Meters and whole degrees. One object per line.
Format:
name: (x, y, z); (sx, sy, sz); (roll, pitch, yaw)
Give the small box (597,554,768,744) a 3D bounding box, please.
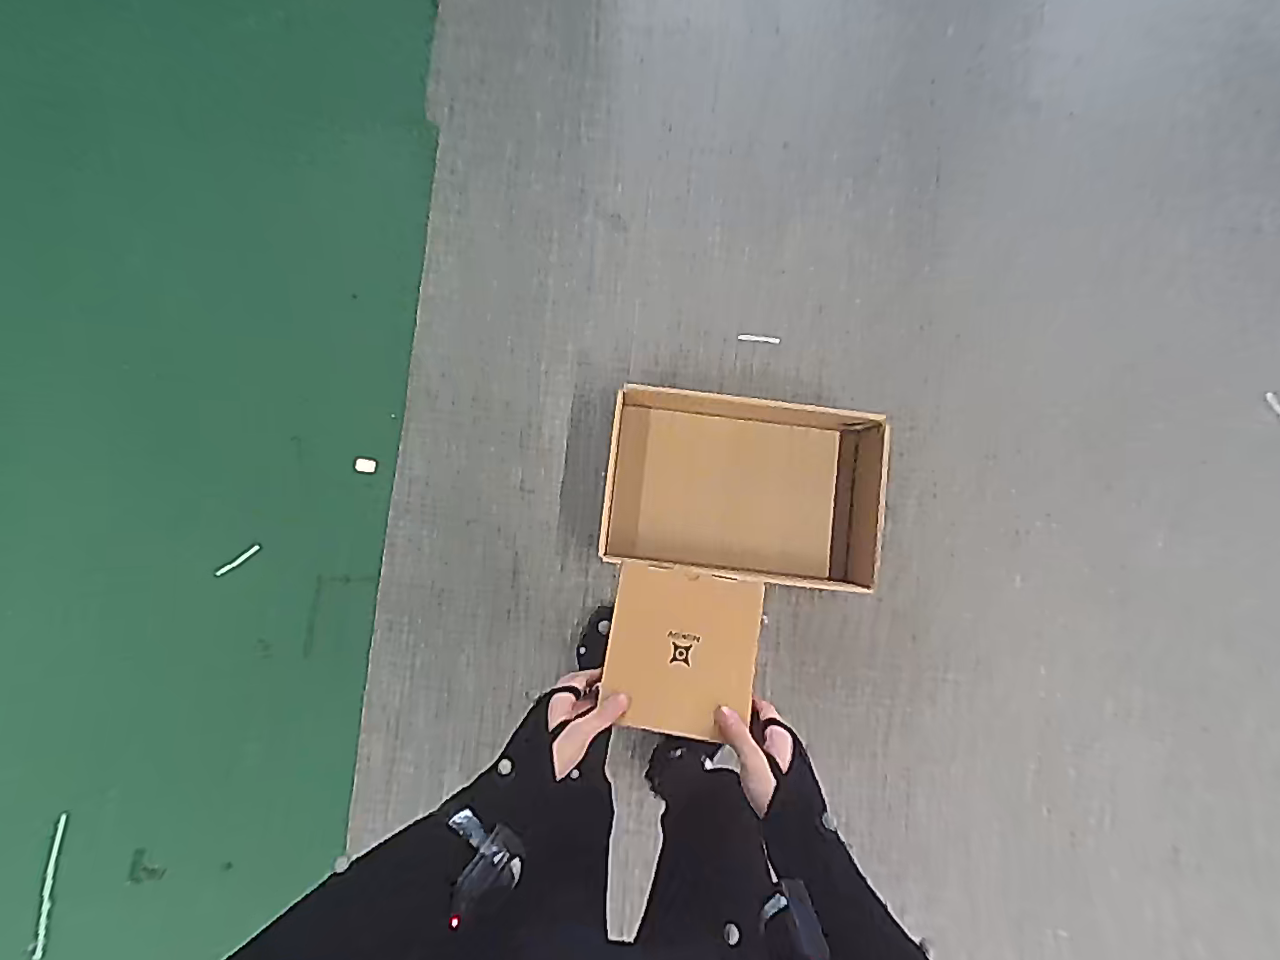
small box: (0.052, 0.204, 0.671); (0.168, 0.176, 0.179); (10, 73, 5)
